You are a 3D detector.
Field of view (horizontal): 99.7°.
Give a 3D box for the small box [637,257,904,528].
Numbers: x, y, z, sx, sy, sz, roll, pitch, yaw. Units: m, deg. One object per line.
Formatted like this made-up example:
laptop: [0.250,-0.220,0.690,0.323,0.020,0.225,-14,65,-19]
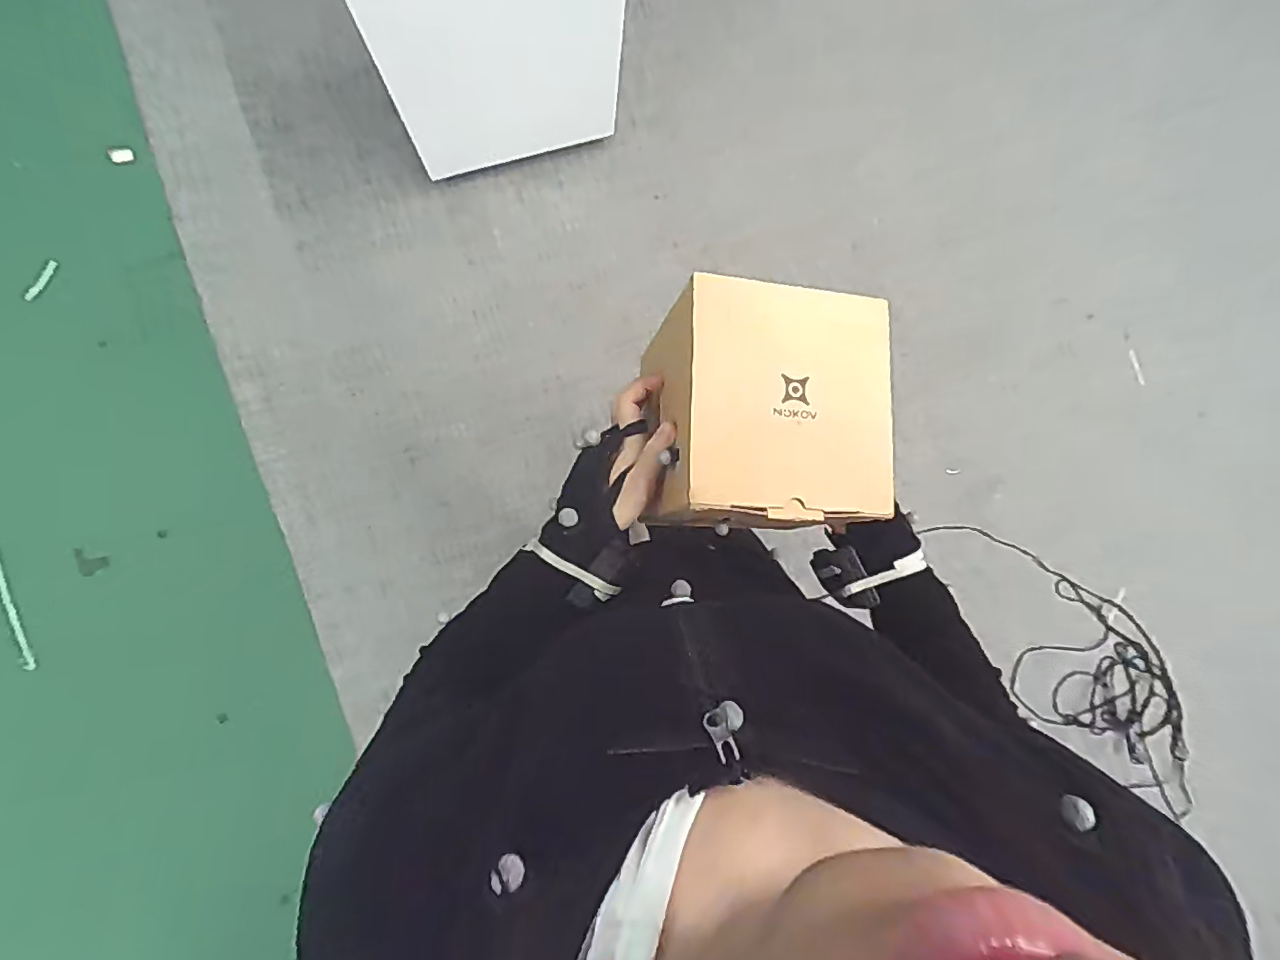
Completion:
small box: [0.095,-0.056,0.462,0.168,0.176,0.179,4,81,-12]
